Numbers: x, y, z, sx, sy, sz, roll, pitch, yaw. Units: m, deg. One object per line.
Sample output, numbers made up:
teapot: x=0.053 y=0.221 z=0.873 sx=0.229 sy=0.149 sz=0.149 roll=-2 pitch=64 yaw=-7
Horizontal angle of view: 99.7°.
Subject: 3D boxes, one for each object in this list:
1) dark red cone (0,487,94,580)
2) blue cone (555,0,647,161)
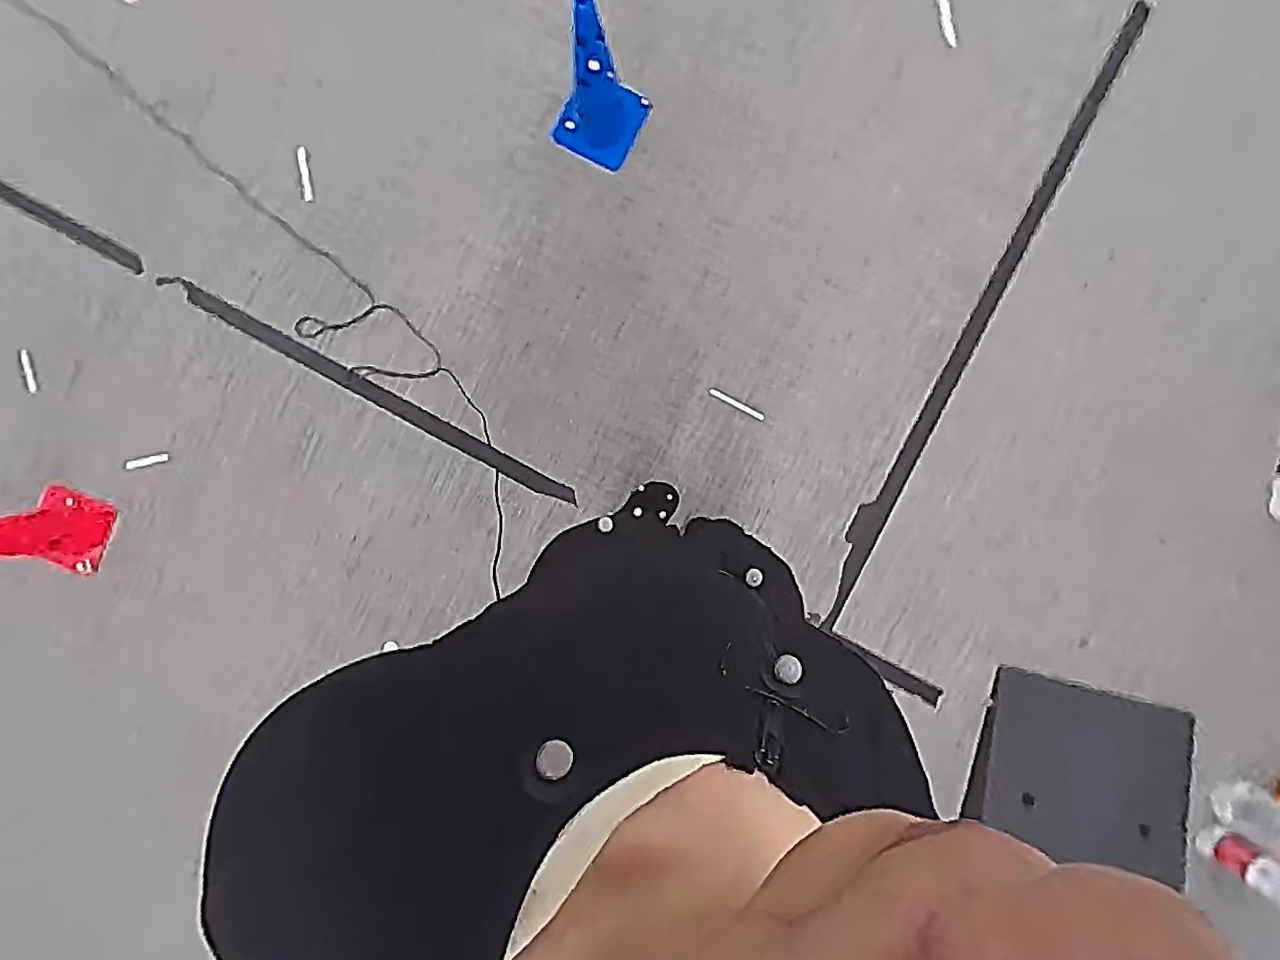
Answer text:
dark red cone: x=-1.516 y=0.134 z=1.218 sx=0.202 sy=0.394 sz=0.201 roll=20 pitch=90 yaw=1
blue cone: x=-0.103 y=-0.915 z=1.199 sx=0.193 sy=0.380 sz=0.192 roll=29 pitch=90 yaw=1
